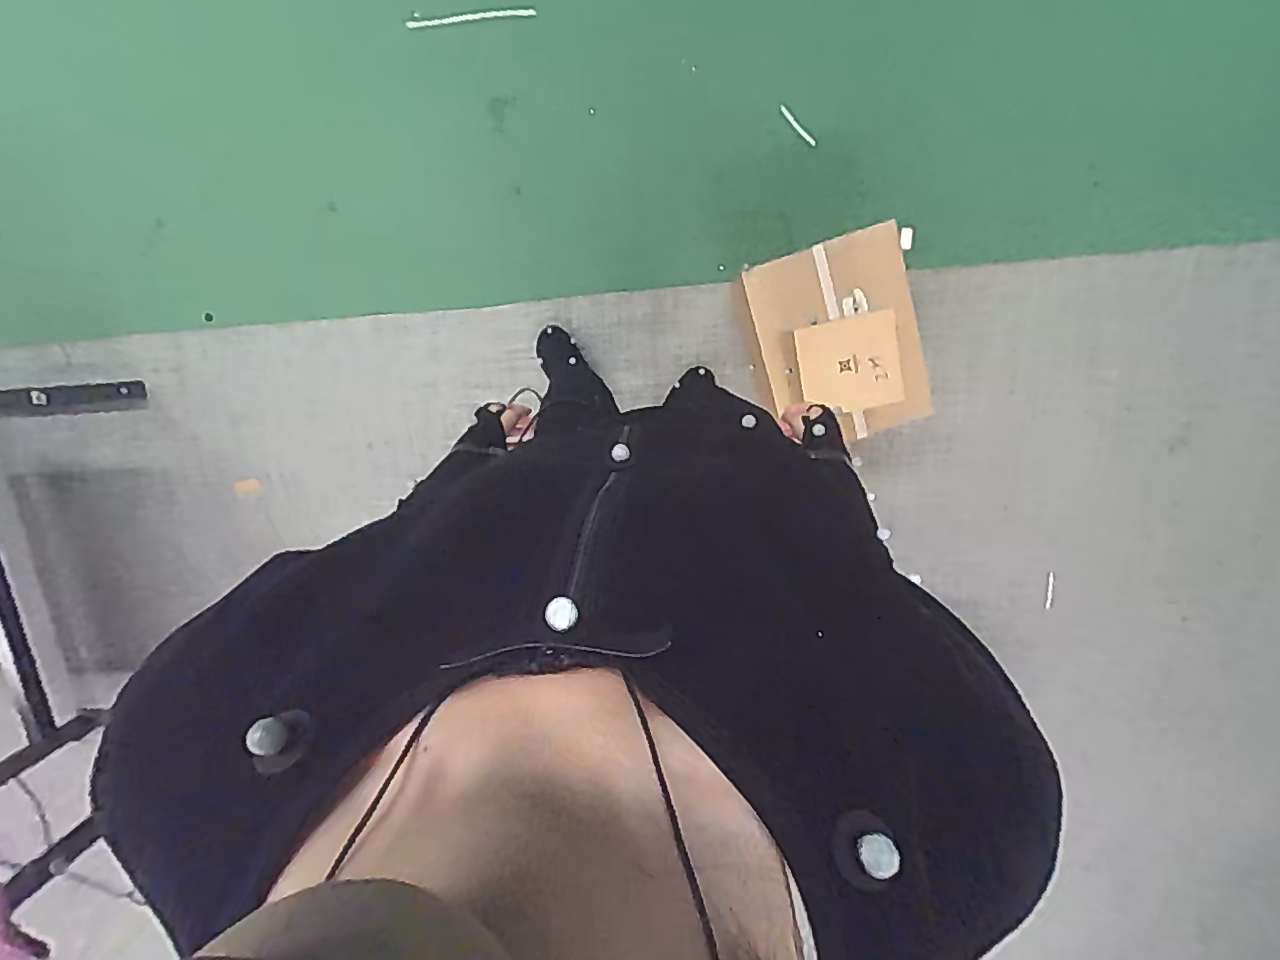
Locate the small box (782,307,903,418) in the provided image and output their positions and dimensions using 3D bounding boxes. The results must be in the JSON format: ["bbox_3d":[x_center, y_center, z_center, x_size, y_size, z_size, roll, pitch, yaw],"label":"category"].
[{"bbox_3d":[0.373,-0.222,1.027,0.179,0.176,0.168,-11,104,7],"label":"small box"}]

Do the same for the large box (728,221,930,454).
[{"bbox_3d":[0.414,-0.312,1.257,0.320,0.320,0.408,-17,100,7],"label":"large box"}]
